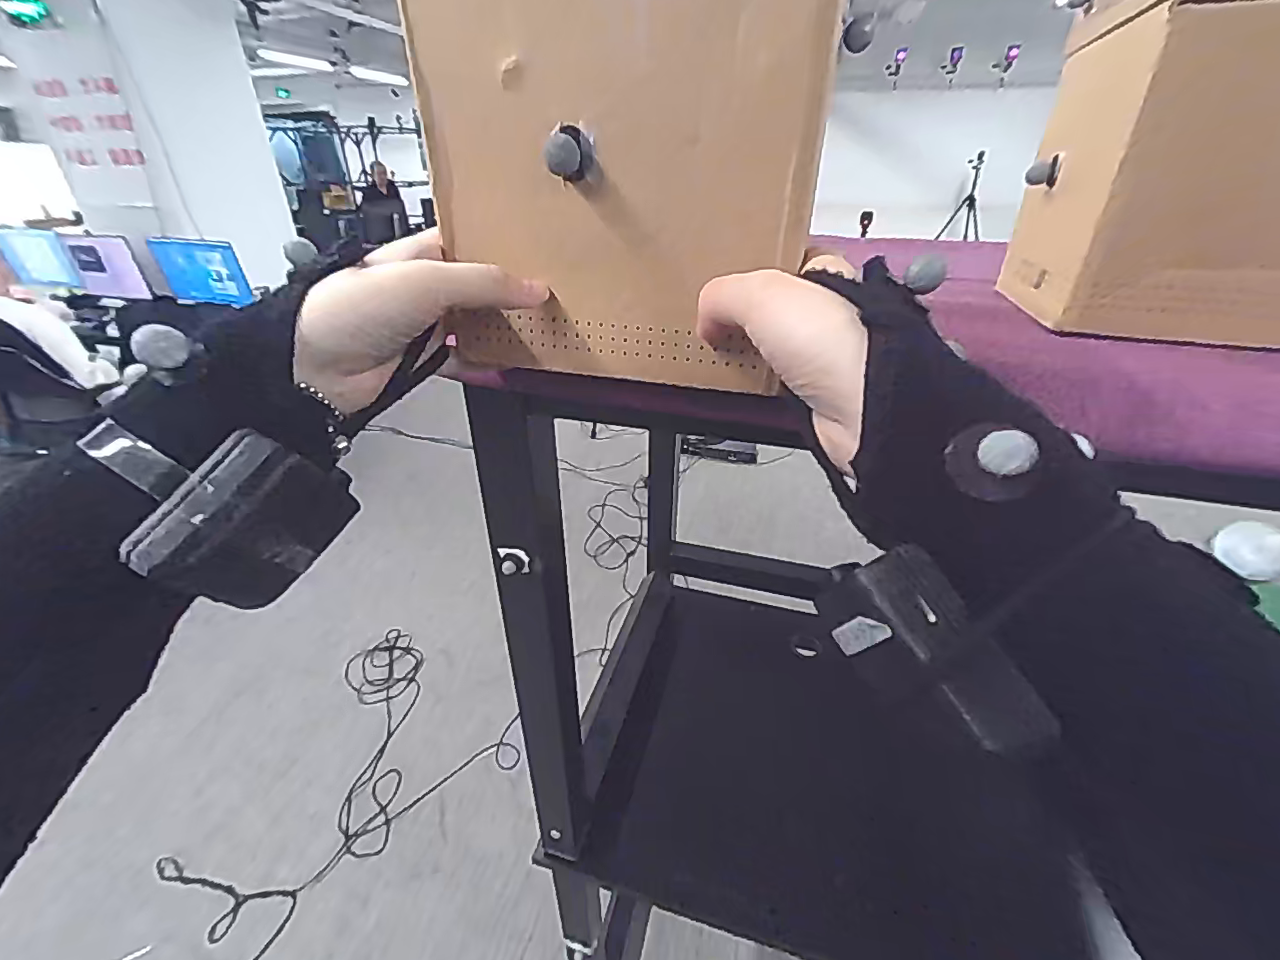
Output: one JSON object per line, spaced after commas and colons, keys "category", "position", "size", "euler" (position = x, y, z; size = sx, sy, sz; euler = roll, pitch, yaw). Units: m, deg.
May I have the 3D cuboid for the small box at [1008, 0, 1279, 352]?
{"category": "small box", "position": [0.370, -0.186, 0.351], "size": [0.179, 0.176, 0.168], "euler": [10, 31, 15]}

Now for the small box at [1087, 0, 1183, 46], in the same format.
{"category": "small box", "position": [0.373, -0.332, 0.274], "size": [0.179, 0.176, 0.168], "euler": [11, 31, 15]}

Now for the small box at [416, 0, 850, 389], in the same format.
{"category": "small box", "position": [0.011, -0.159, 0.300], "size": [0.179, 0.176, 0.168], "euler": [8, 32, 14]}
